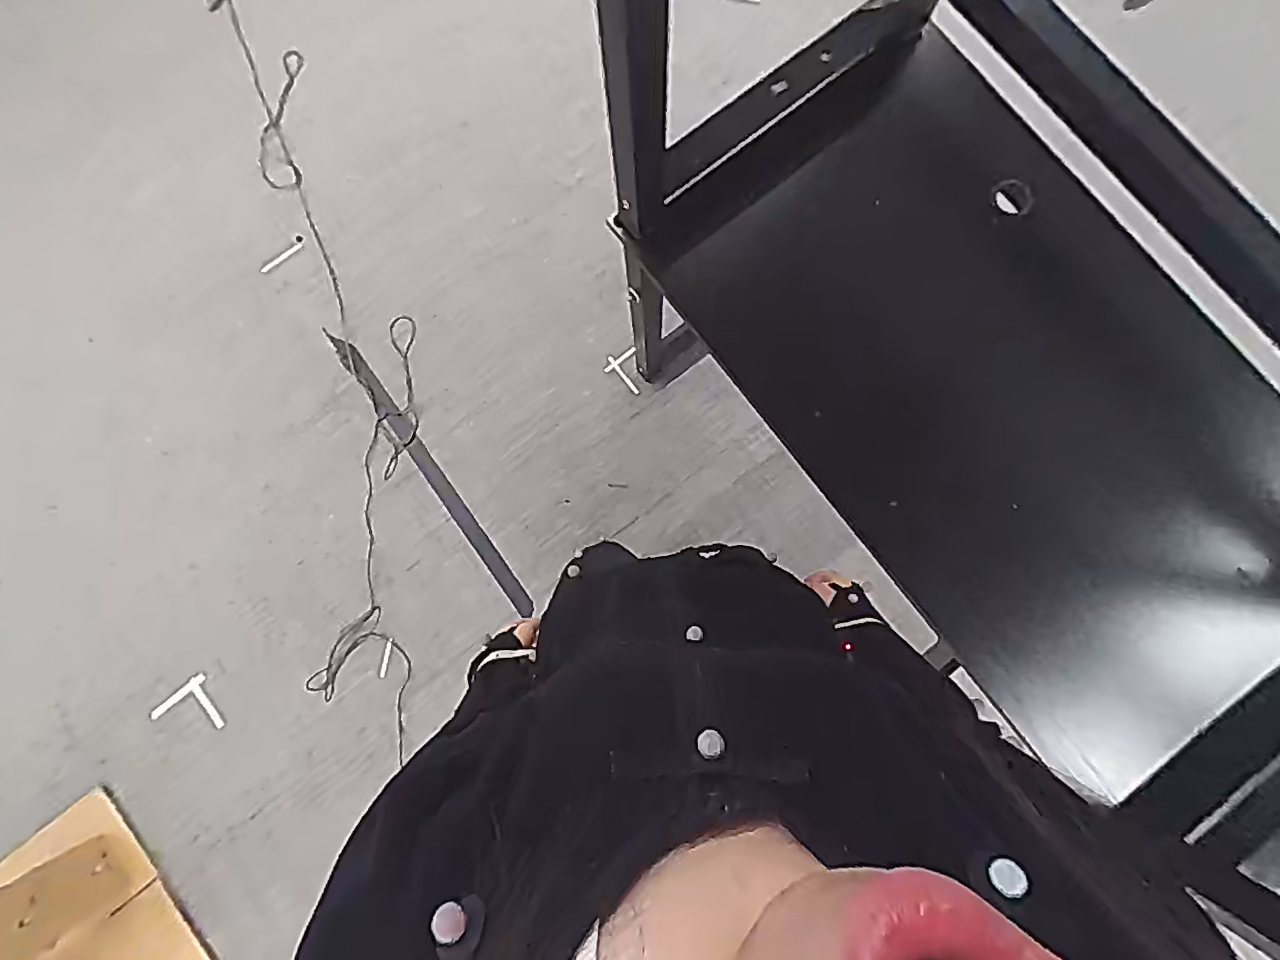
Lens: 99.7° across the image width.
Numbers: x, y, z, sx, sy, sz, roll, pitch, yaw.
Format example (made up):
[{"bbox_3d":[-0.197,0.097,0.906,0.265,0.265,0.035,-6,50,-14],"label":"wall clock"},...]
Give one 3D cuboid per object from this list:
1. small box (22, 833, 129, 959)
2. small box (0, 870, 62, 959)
[{"bbox_3d":[-1.453,1.038,1.346,0.179,0.176,0.168,-38,85,-4],"label":"small box"},{"bbox_3d":[-1.457,1.019,1.184,0.179,0.176,0.168,-34,84,-4],"label":"small box"}]
